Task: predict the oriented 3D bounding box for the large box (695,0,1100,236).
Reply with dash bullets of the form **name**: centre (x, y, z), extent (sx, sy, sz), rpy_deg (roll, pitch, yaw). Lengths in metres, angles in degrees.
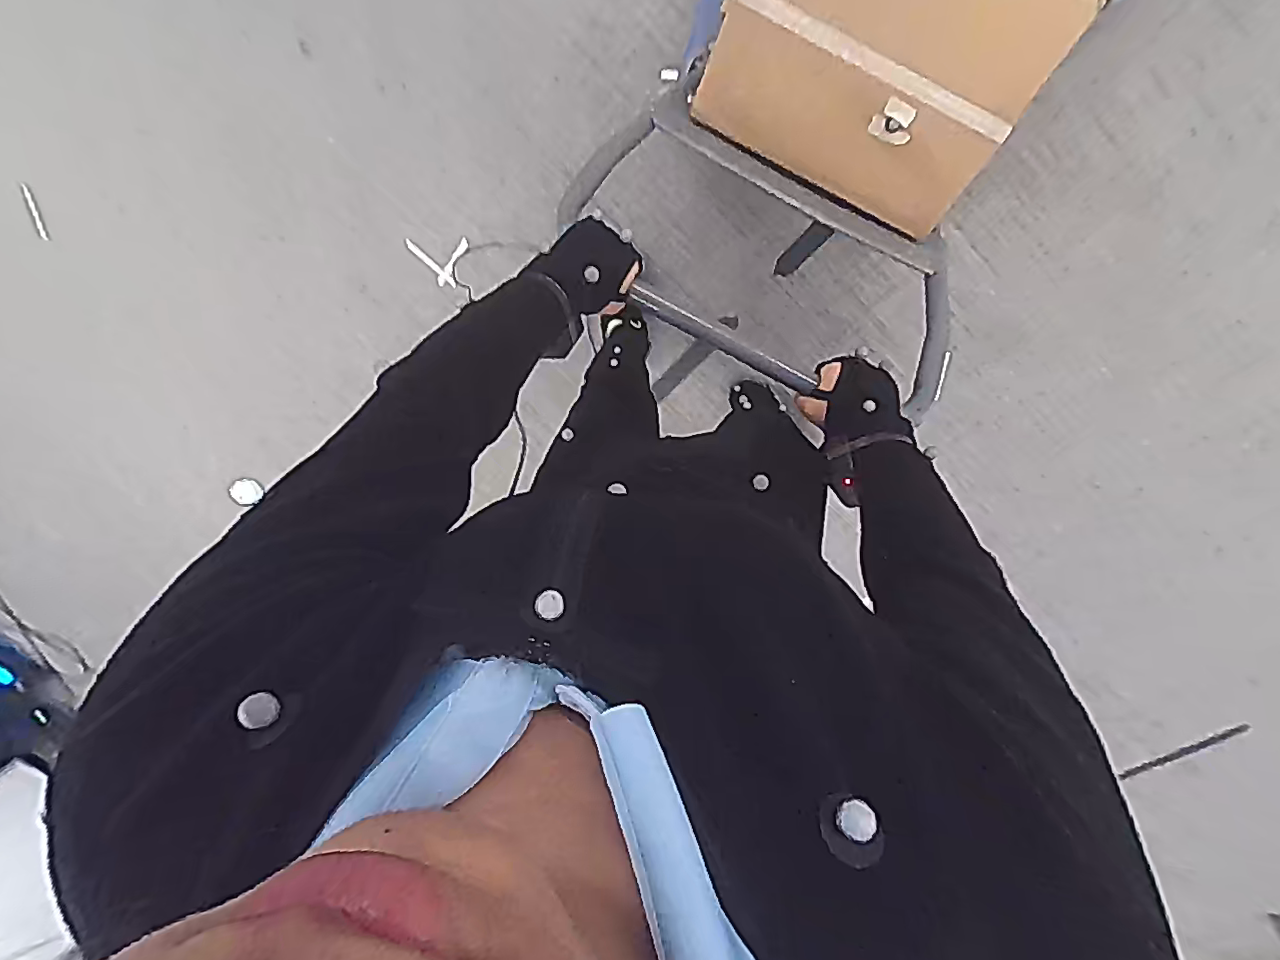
- **large box**: centre (0.349, -0.651, 0.825), extent (0.408, 0.320, 0.320), rpy_deg (26, 137, -3)
